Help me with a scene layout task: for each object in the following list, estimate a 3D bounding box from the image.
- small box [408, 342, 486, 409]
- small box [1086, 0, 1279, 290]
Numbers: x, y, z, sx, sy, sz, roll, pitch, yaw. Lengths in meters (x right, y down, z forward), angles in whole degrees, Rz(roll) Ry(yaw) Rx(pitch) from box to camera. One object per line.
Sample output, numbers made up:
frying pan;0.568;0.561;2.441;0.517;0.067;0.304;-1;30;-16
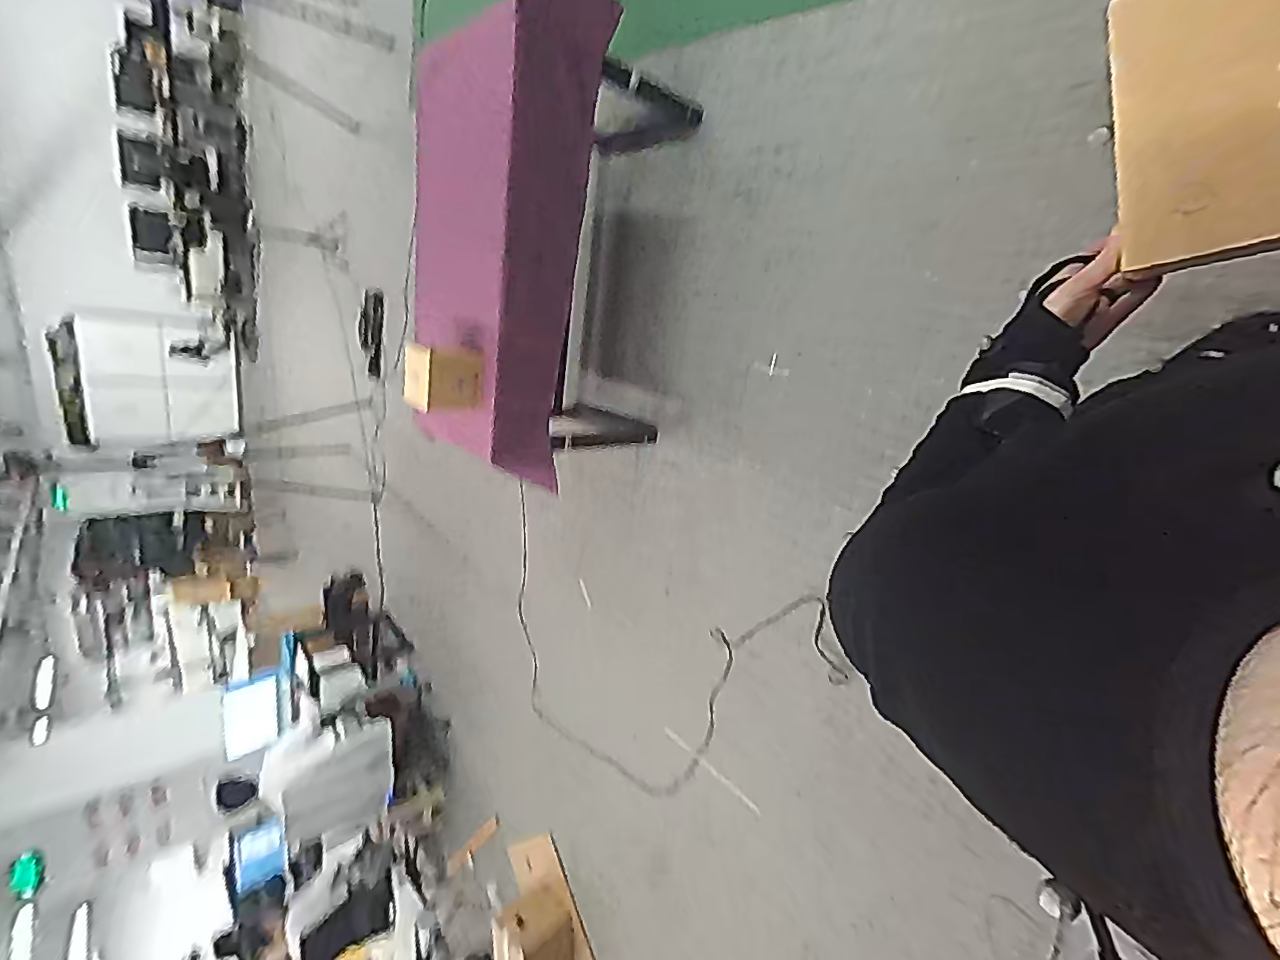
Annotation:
small box;-0.584;-0.317;1.637;0.179;0.176;0.168;27;114;42
small box;0.418;-0.233;0.359;0.179;0.176;0.168;-5;100;41
